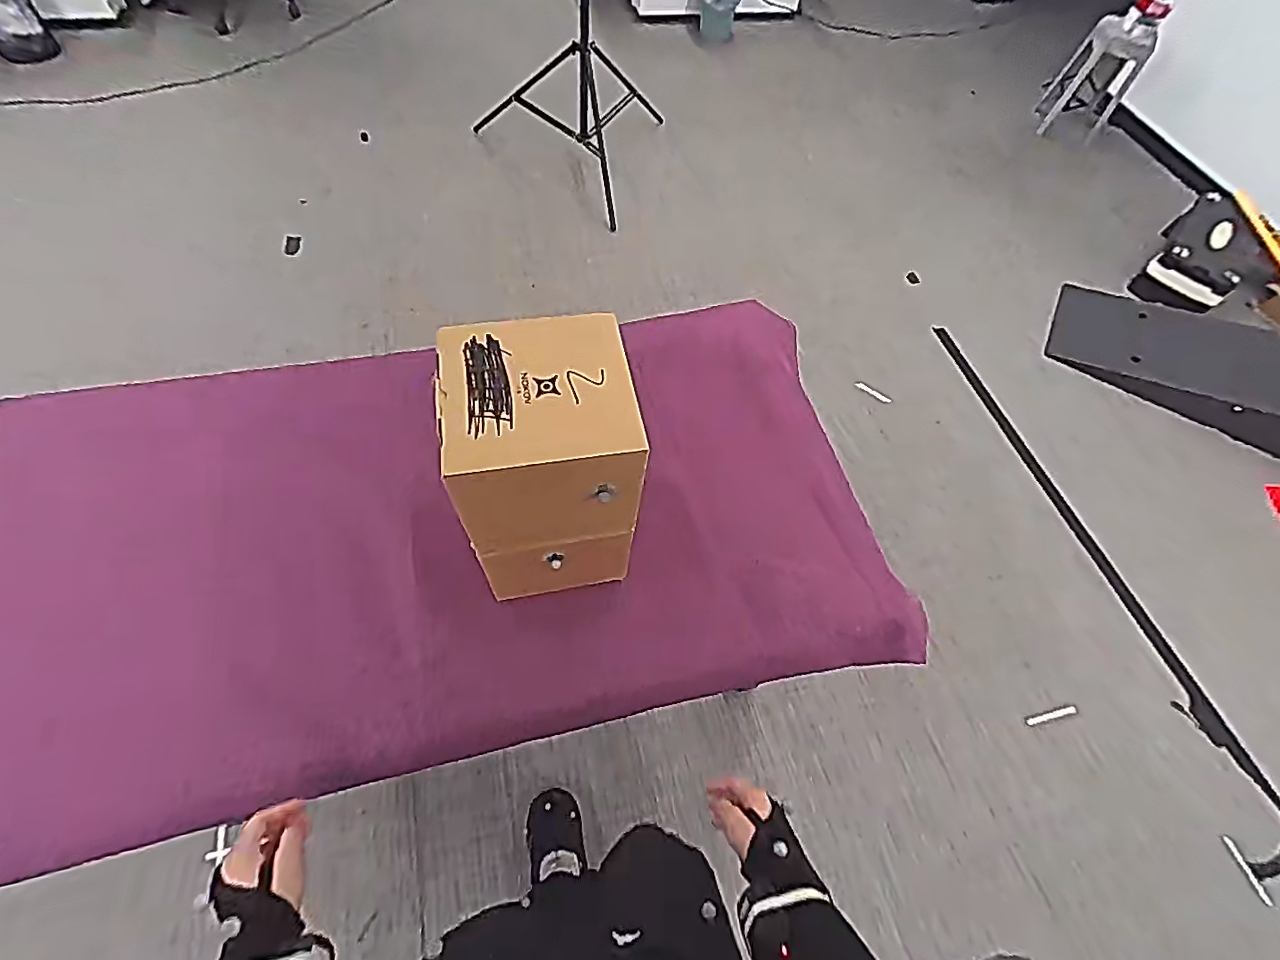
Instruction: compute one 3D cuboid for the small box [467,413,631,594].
[{"bbox_3d":[-0.115,0.037,0.700,0.179,0.176,0.168,-8,62,-11],"label":"small box"}]
